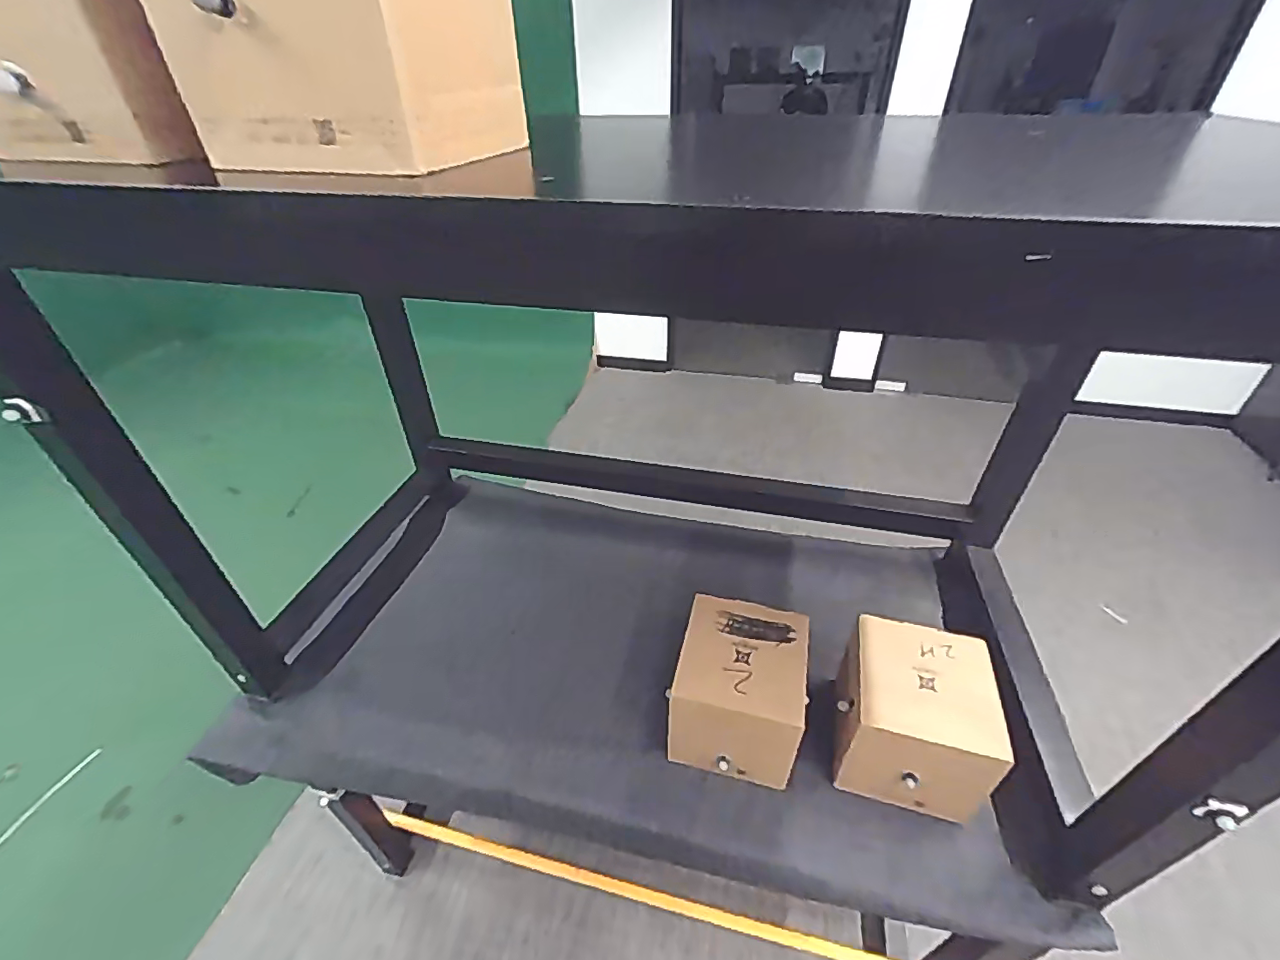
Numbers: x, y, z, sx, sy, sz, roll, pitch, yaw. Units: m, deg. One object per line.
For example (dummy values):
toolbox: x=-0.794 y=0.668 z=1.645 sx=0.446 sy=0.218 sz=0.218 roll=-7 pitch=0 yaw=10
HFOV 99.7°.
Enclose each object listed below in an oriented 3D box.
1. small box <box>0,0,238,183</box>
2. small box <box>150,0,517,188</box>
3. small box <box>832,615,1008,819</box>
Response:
small box: x=-0.418 y=-0.356 z=0.444 sx=0.168 sy=0.176 sz=0.179 roll=8 pitch=39 yaw=12
small box: x=-0.203 y=-0.315 z=0.388 sx=0.168 sy=0.176 sz=0.179 roll=8 pitch=37 yaw=13
small box: x=0.363 y=0.320 z=0.735 sx=0.168 sy=0.176 sz=0.179 roll=10 pitch=37 yaw=14
